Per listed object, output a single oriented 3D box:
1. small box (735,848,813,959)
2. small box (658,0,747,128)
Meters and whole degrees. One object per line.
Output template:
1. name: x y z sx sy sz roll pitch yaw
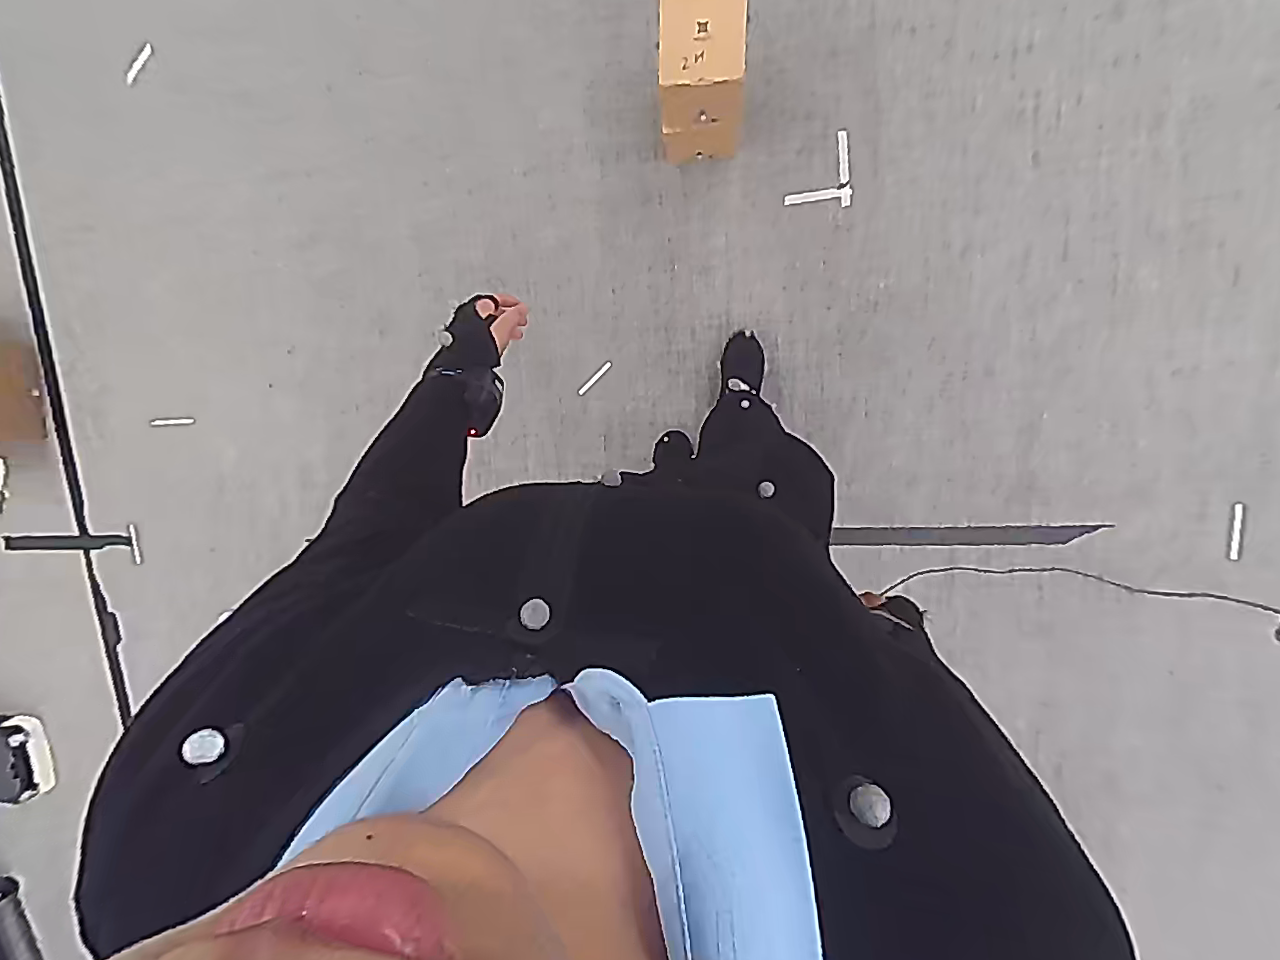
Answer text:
1. small box: 0.325 1.048 1.324 0.168 0.176 0.179 -8 97 10
2. small box: 0.128 -0.854 1.098 0.168 0.176 0.179 2 99 9
